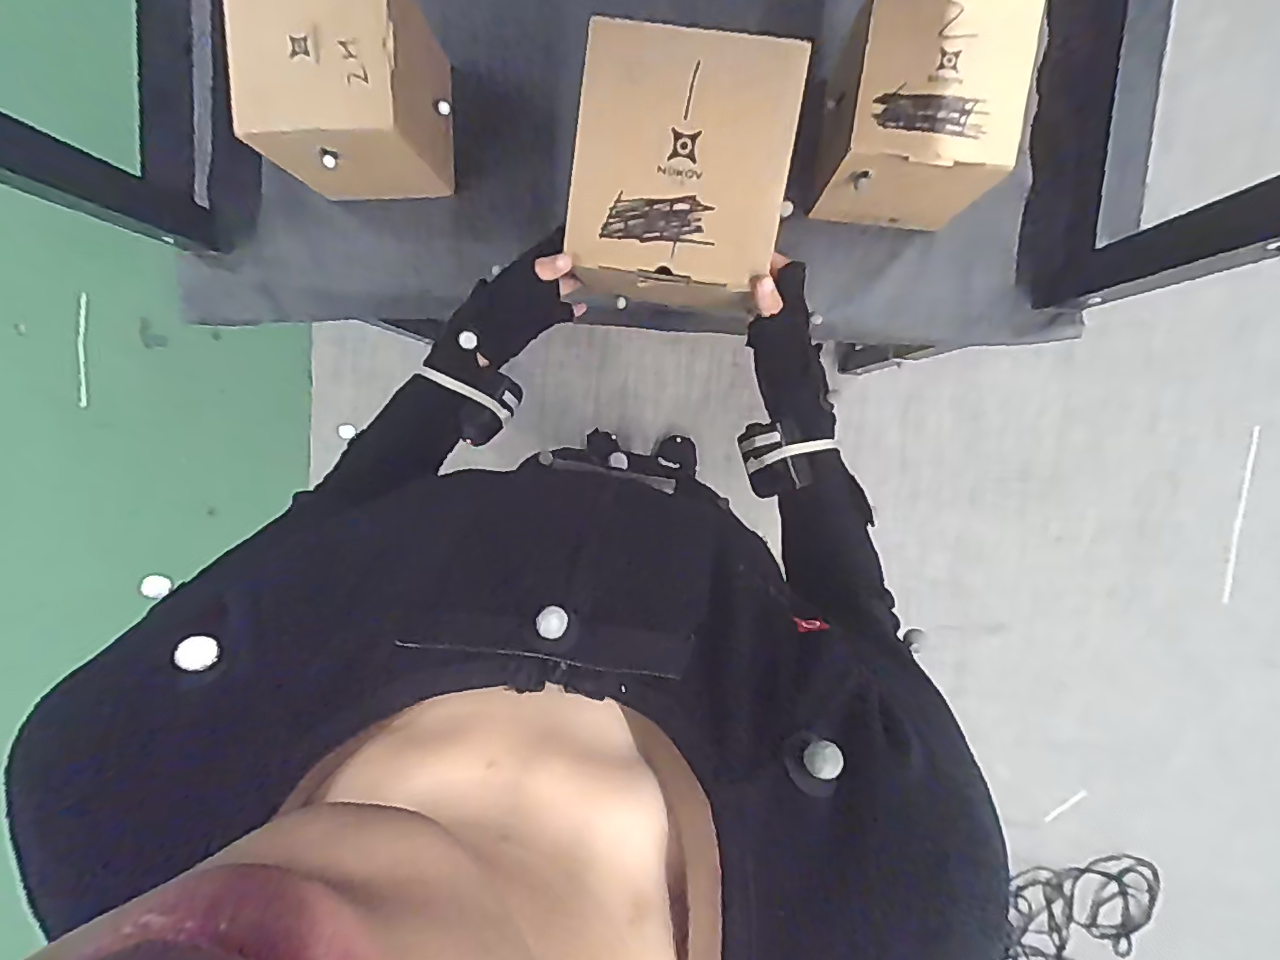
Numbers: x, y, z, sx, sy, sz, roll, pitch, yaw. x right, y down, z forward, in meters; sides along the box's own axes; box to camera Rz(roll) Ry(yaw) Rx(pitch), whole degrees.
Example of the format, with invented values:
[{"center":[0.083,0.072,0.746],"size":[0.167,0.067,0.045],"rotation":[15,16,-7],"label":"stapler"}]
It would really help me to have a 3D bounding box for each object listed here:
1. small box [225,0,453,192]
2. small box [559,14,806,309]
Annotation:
[{"center":[-0.339,-0.458,0.637],"size":[0.179,0.176,0.168],"rotation":[0,96,2],"label":"small box"},{"center":[0.035,-0.262,0.490],"size":[0.168,0.176,0.179],"rotation":[10,101,3],"label":"small box"}]
